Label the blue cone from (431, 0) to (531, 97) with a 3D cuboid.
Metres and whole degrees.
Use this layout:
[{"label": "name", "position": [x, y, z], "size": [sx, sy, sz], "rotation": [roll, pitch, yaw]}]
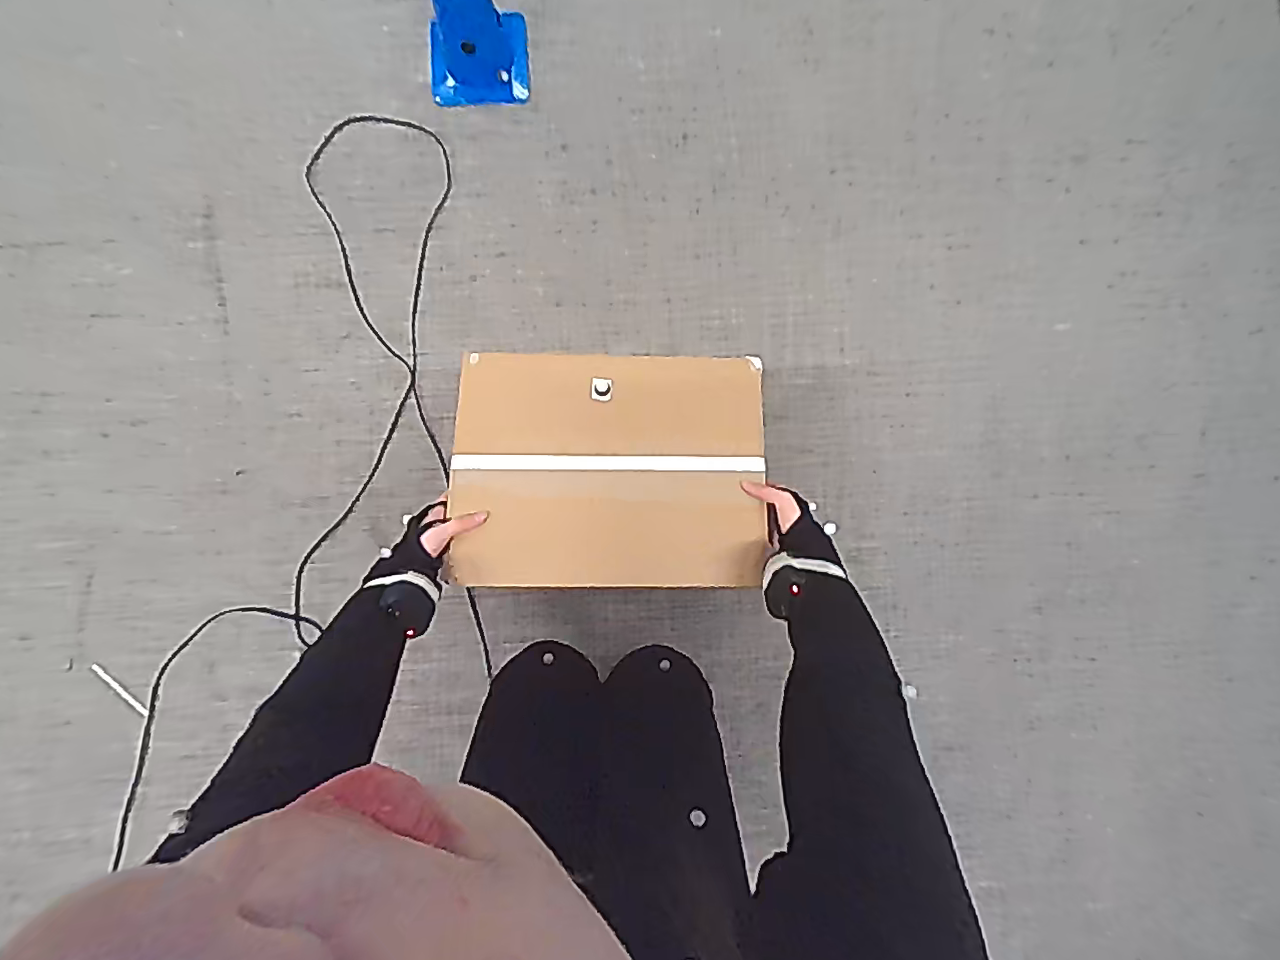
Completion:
[{"label": "blue cone", "position": [-0.316, -0.884, 0.934], "size": [0.193, 0.380, 0.192], "rotation": [-6, 86, -4]}]
